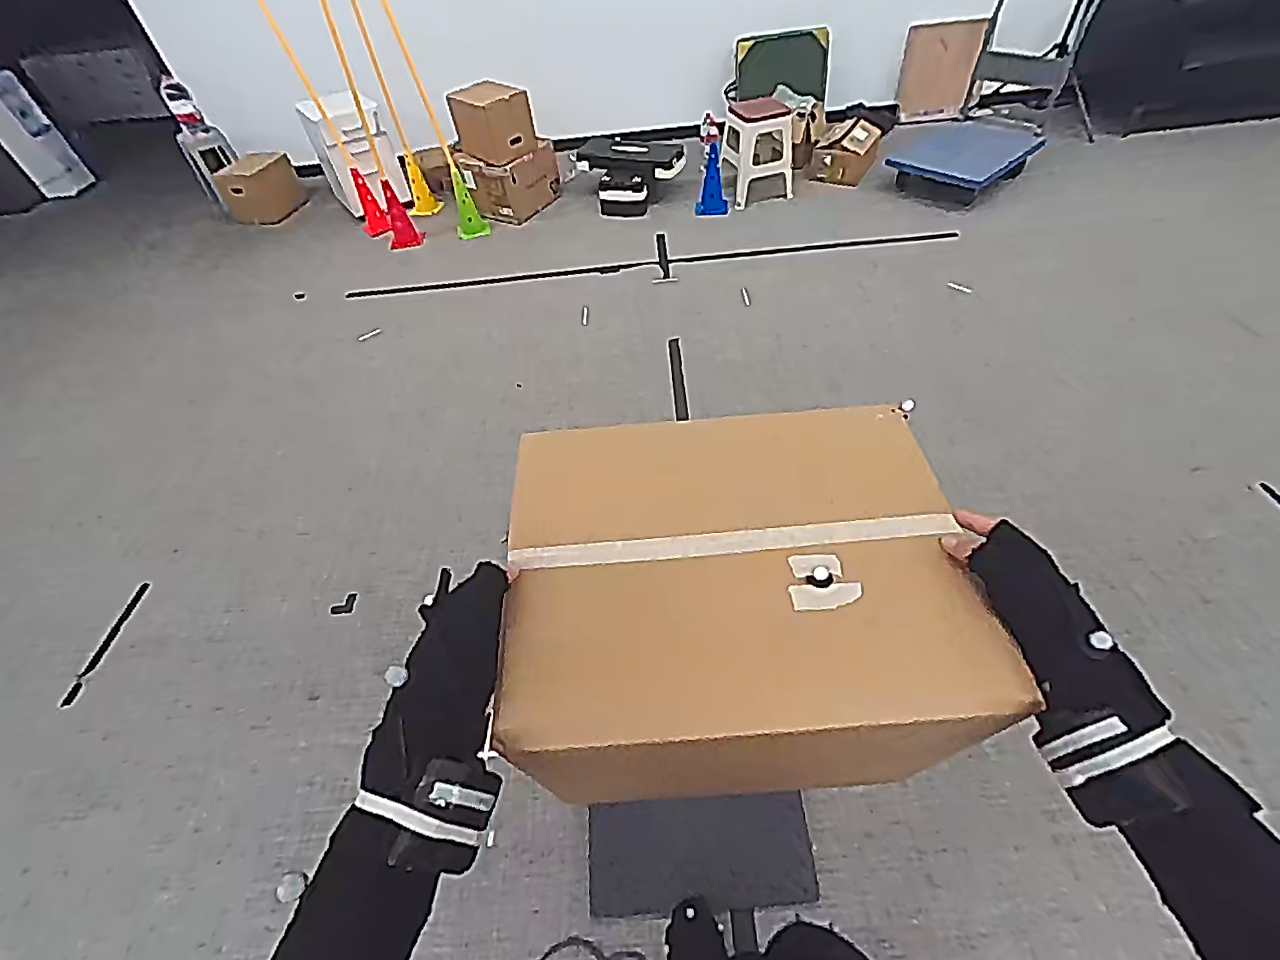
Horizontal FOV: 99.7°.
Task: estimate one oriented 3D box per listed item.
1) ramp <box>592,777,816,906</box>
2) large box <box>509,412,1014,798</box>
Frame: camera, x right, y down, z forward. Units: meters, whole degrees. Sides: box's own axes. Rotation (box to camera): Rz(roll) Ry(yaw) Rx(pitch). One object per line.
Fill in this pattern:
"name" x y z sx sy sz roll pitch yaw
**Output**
"ramp" 0.110 0.475 1.418 0.509 0.206 0.991 -6 49 -1
"large box" 0.090 0.153 0.622 0.408 0.320 0.320 -5 53 0
